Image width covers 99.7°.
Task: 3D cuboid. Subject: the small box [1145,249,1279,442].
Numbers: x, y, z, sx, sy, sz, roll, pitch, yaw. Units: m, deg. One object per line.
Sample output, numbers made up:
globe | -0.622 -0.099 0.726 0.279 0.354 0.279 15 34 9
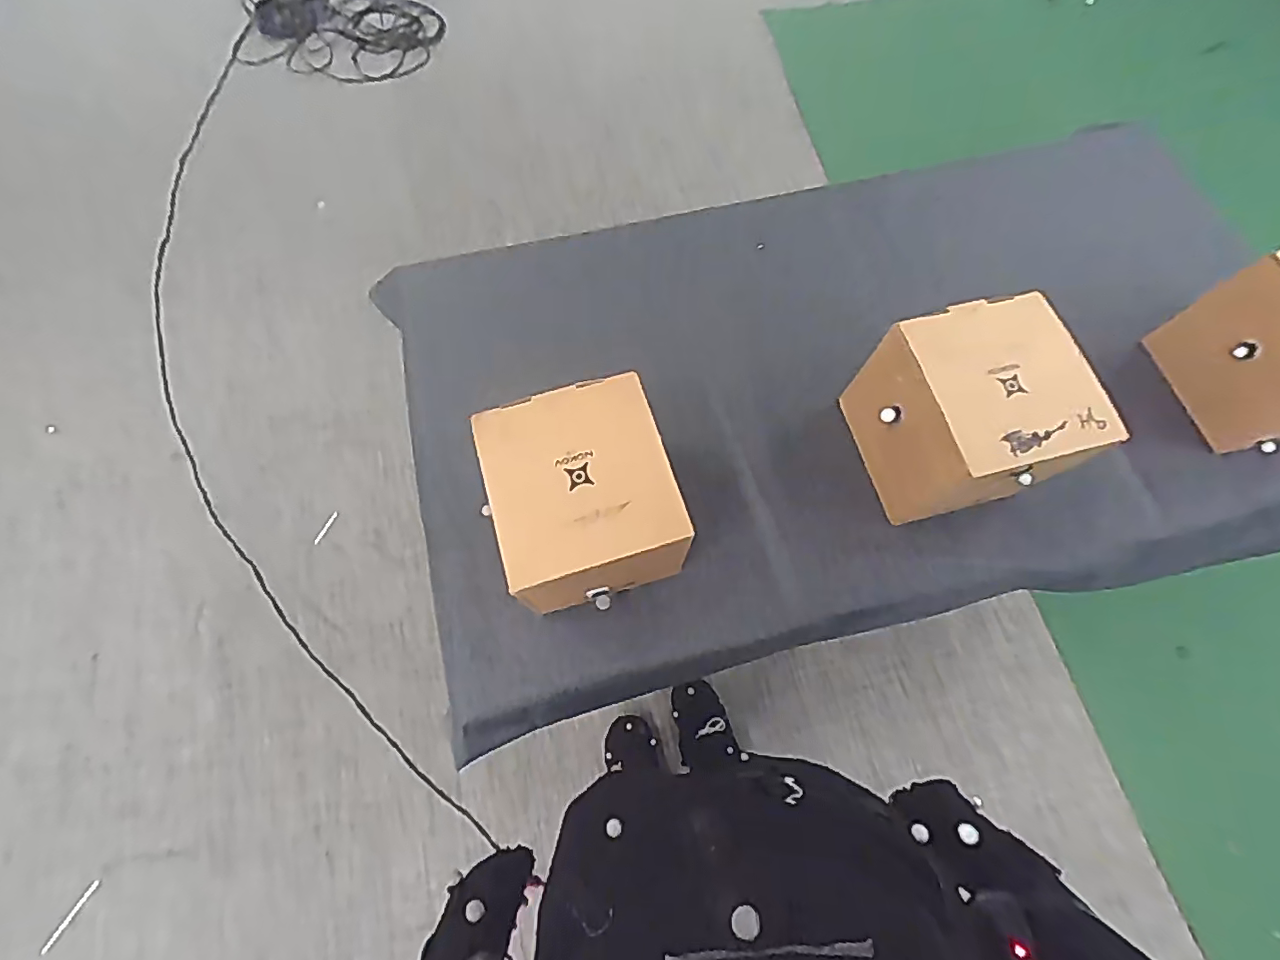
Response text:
small box | 0.776 -0.157 0.636 0.168 0.176 0.179 -12 70 -4

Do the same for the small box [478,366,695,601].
small box | -0.054 0.013 0.568 0.168 0.176 0.179 -17 72 -6

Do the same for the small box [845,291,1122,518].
small box | 0.357 -0.076 0.606 0.168 0.176 0.179 -13 71 -5
